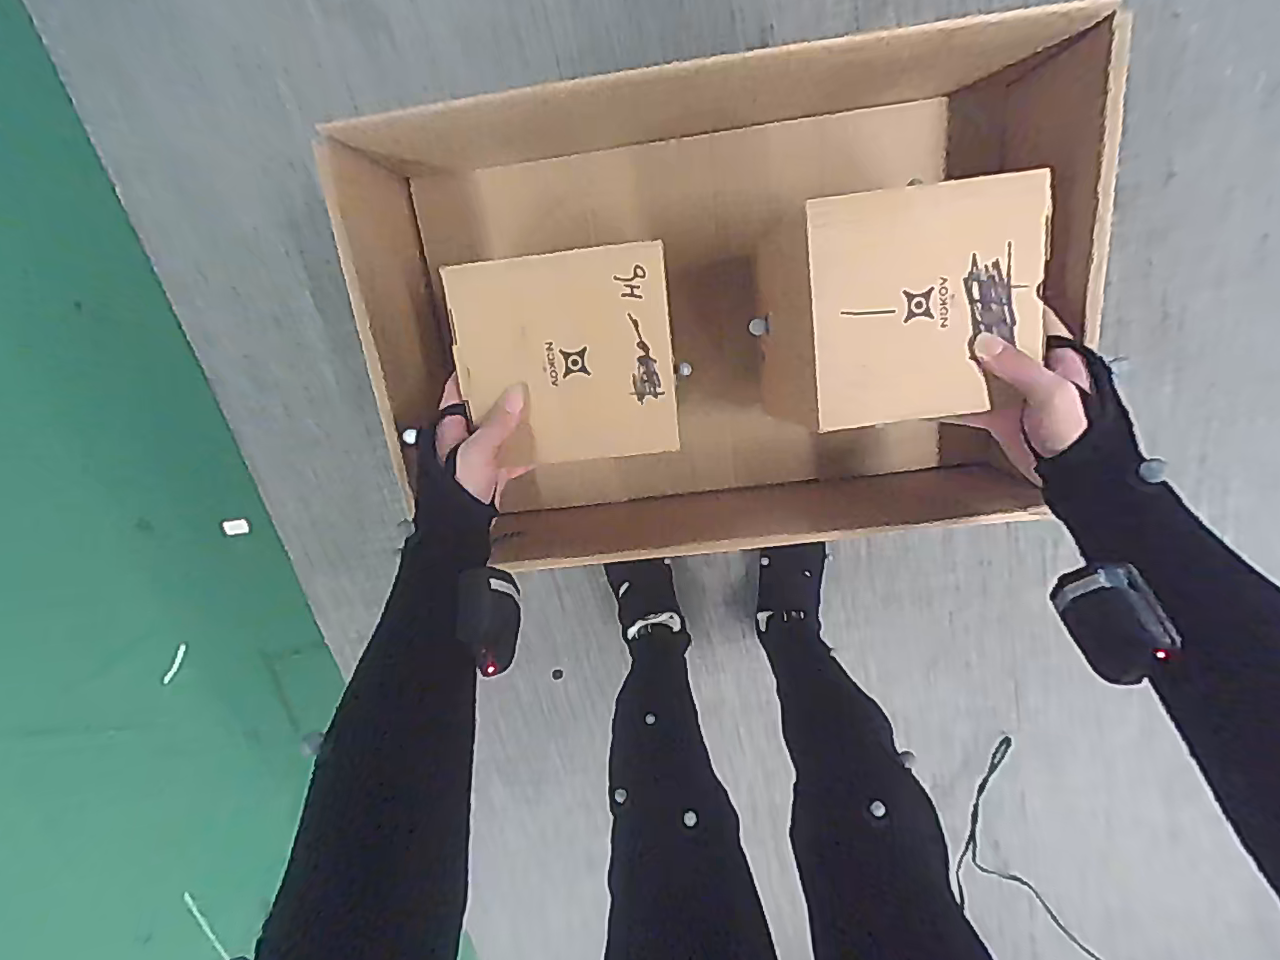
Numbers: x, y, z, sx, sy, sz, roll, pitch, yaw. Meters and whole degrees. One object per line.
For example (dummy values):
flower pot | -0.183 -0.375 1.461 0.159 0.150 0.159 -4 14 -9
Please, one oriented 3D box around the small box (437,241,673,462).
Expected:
small box | -0.062 -0.120 0.516 0.179 0.176 0.168 -5 106 5
